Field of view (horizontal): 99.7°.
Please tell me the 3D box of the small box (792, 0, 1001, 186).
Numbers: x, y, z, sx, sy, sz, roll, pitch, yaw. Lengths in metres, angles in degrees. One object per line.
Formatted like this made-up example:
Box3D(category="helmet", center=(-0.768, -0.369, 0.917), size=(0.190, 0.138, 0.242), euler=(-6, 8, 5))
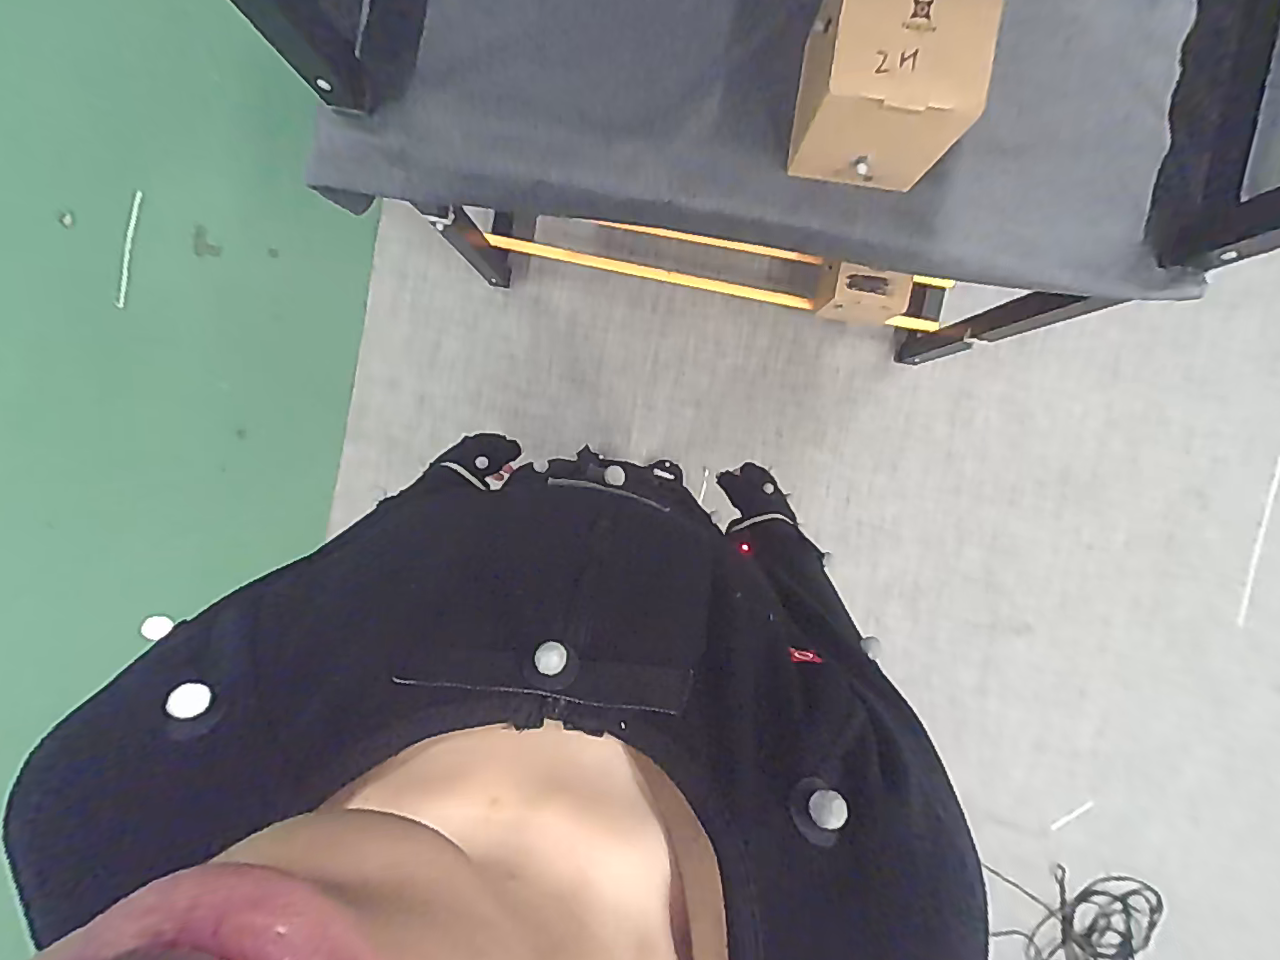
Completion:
Box3D(category="small box", center=(0.292, -0.489, 0.644), size=(0.168, 0.176, 0.179), euler=(8, 92, 0))
